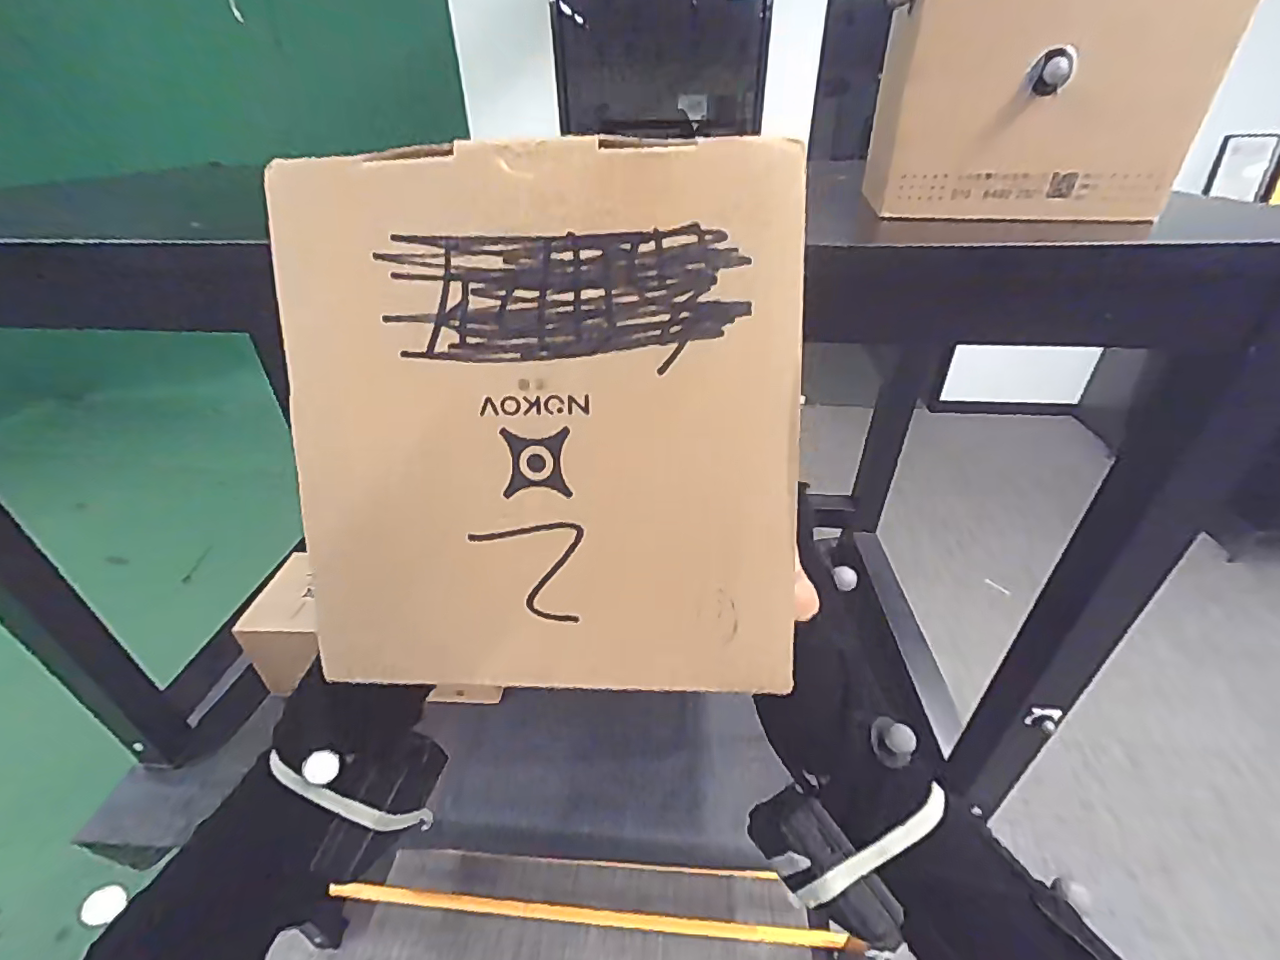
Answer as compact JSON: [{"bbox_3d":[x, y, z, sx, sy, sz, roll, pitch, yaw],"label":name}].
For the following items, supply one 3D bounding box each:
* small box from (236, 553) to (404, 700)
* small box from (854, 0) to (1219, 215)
[{"bbox_3d":[-0.526,0.246,0.924,0.168,0.176,0.179,0,34,3],"label":"small box"},{"bbox_3d":[0.254,-0.289,0.379,0.168,0.176,0.179,8,35,13],"label":"small box"}]
